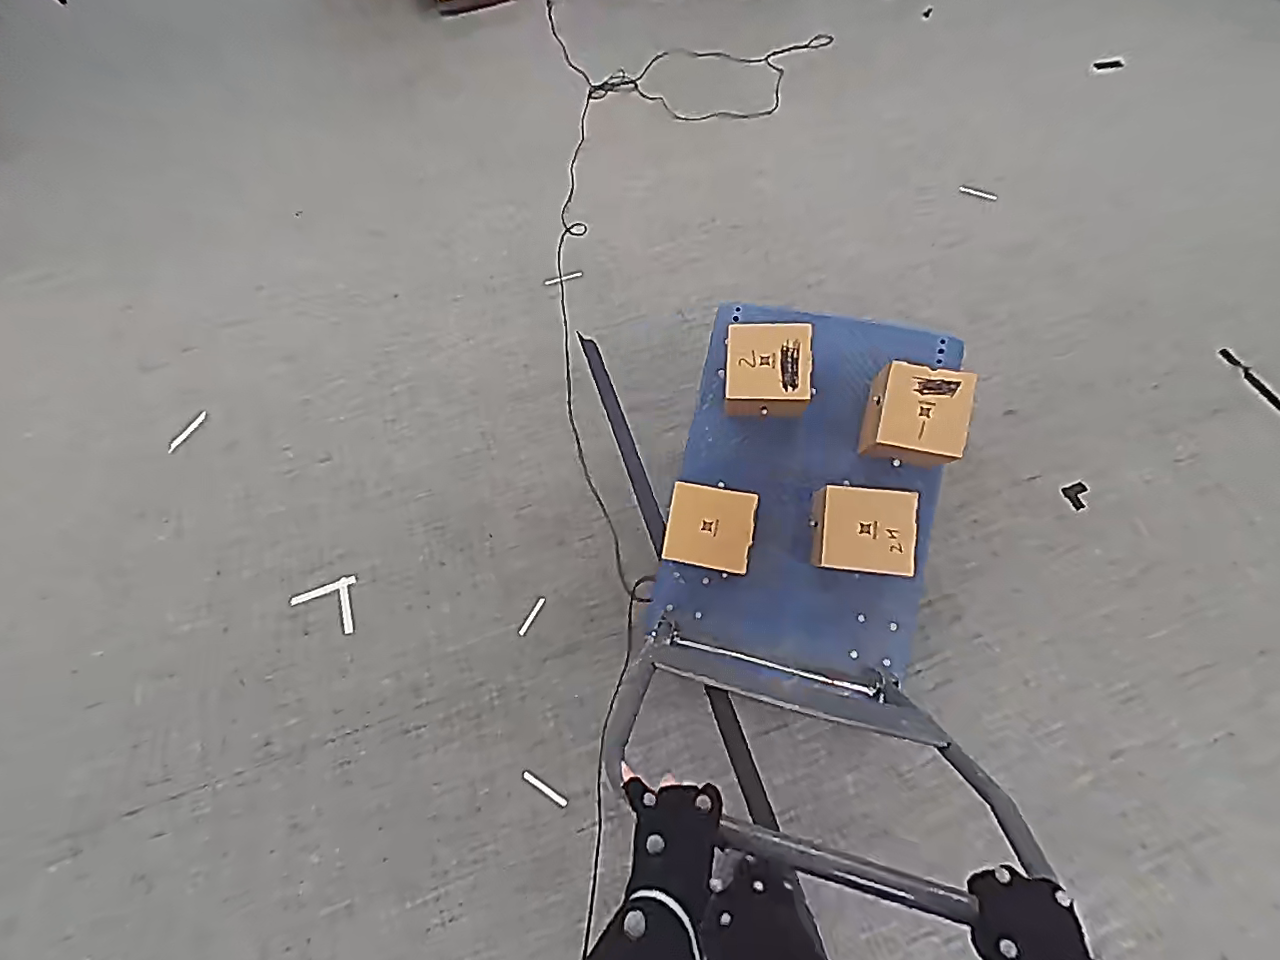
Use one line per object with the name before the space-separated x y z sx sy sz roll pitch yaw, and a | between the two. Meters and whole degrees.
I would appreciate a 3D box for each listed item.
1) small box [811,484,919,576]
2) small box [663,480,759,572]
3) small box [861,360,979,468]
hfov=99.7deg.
small box | 0.465 0.106 1.140 0.179 0.176 0.168 6 84 10
small box | 0.156 0.103 1.190 0.179 0.176 0.168 10 85 8
small box | 0.585 -0.134 1.152 0.168 0.176 0.179 13 86 11
